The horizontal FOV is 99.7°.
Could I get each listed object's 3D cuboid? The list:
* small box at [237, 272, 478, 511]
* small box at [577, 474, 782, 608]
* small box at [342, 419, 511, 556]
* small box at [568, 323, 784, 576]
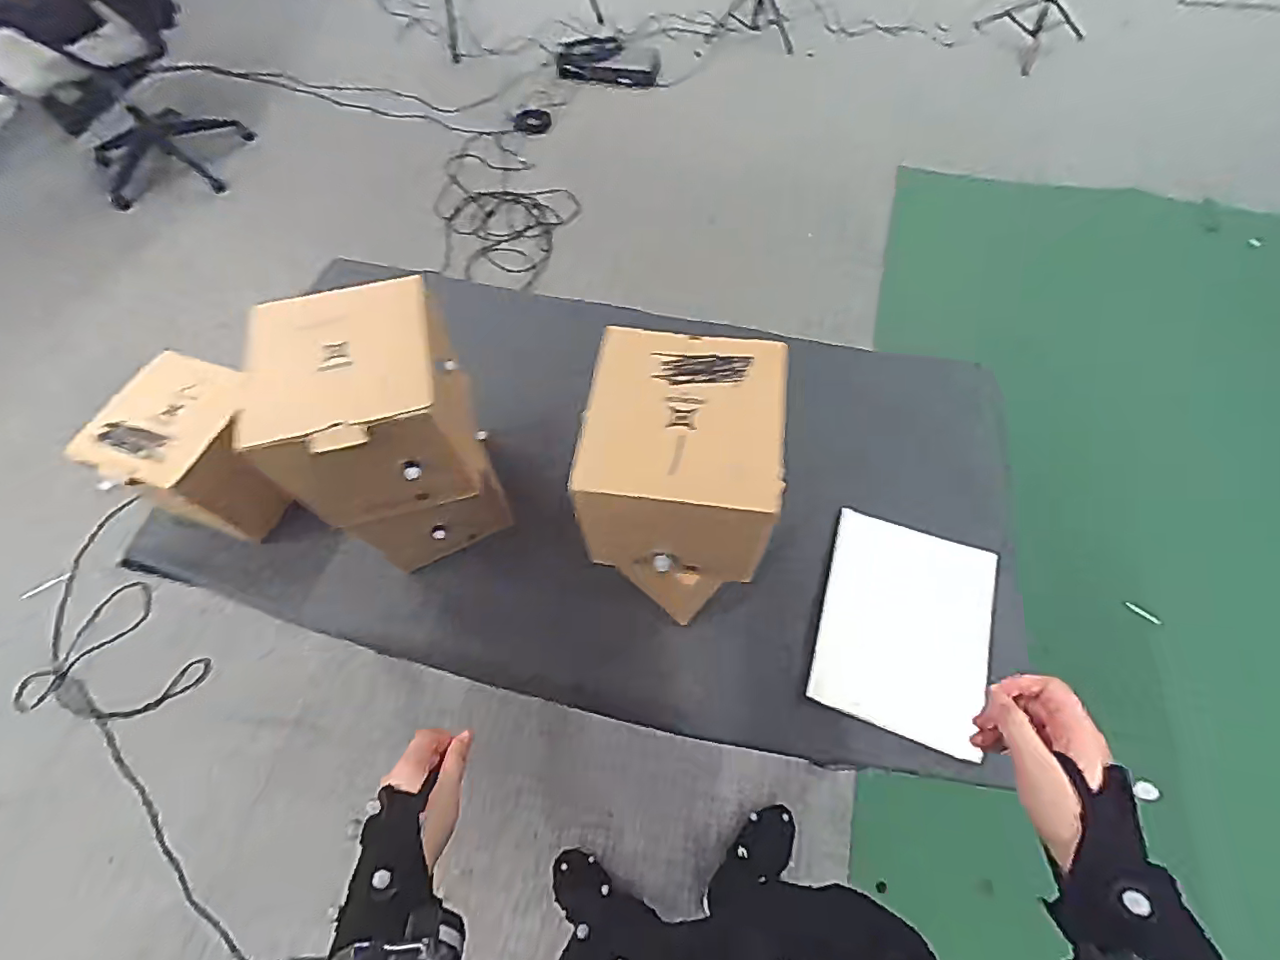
[{"bbox_3d":[-0.280,-0.082,0.572,0.168,0.176,0.179,-13,62,-6],"label":"small box"},{"bbox_3d":[0.047,0.040,0.679,0.179,0.176,0.168,38,70,21],"label":"small box"},{"bbox_3d":[-0.290,-0.016,0.721,0.168,0.176,0.179,-24,64,-11],"label":"small box"},{"bbox_3d":[0.039,-0.024,0.527,0.168,0.176,0.179,7,63,7],"label":"small box"}]
